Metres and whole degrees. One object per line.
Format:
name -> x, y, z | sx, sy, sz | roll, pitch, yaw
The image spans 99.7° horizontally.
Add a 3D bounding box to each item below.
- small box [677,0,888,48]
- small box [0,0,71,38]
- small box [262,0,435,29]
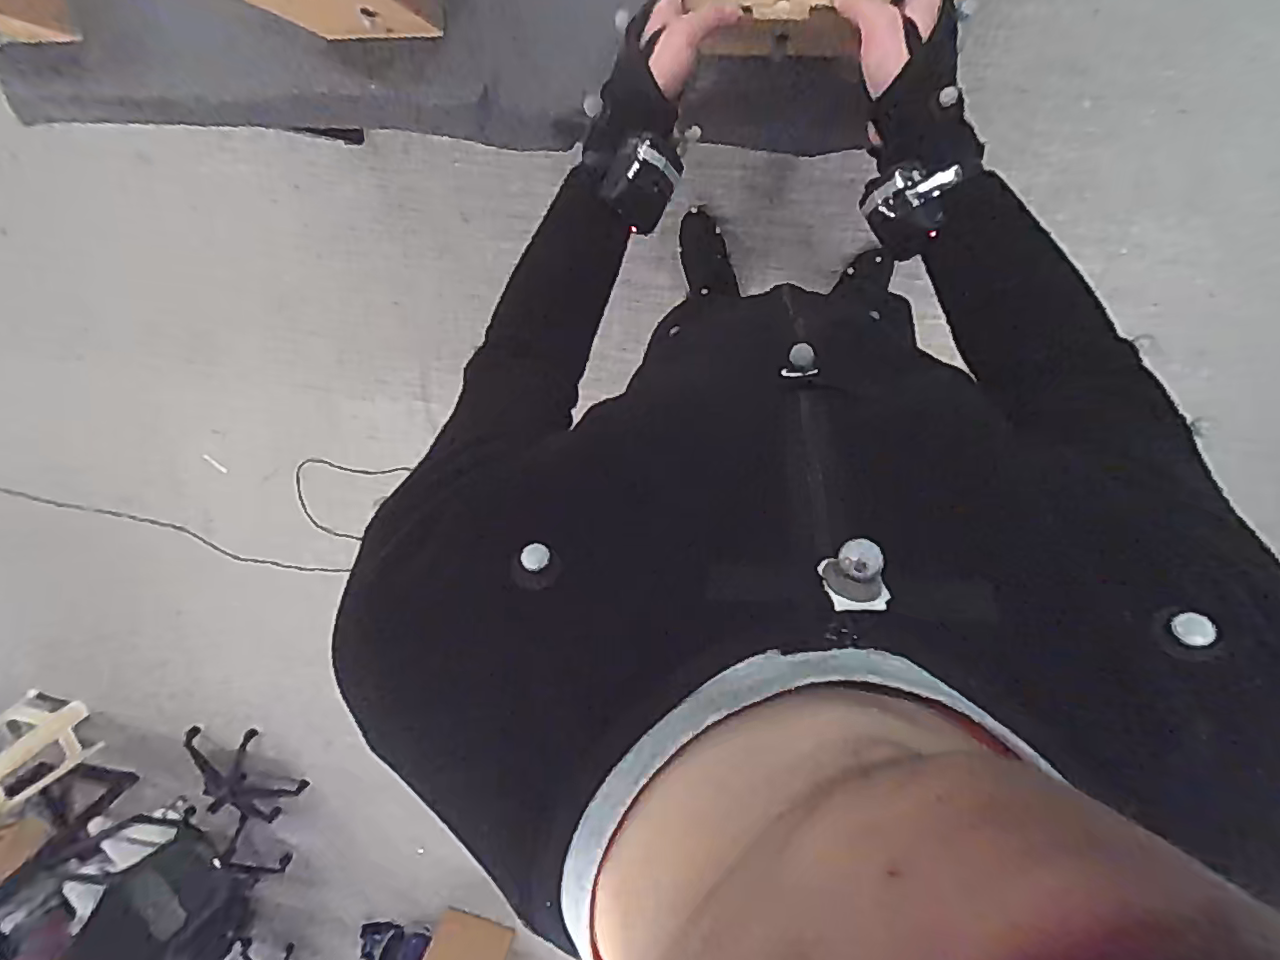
small box -> 0.131, -0.477, 0.441 | 0.168, 0.176, 0.179 | 9, 119, 10
small box -> -0.844, -0.649, 0.627 | 0.168, 0.176, 0.179 | 6, 116, 8
small box -> -0.330, -0.593, 0.554 | 0.168, 0.176, 0.179 | 5, 114, 8
